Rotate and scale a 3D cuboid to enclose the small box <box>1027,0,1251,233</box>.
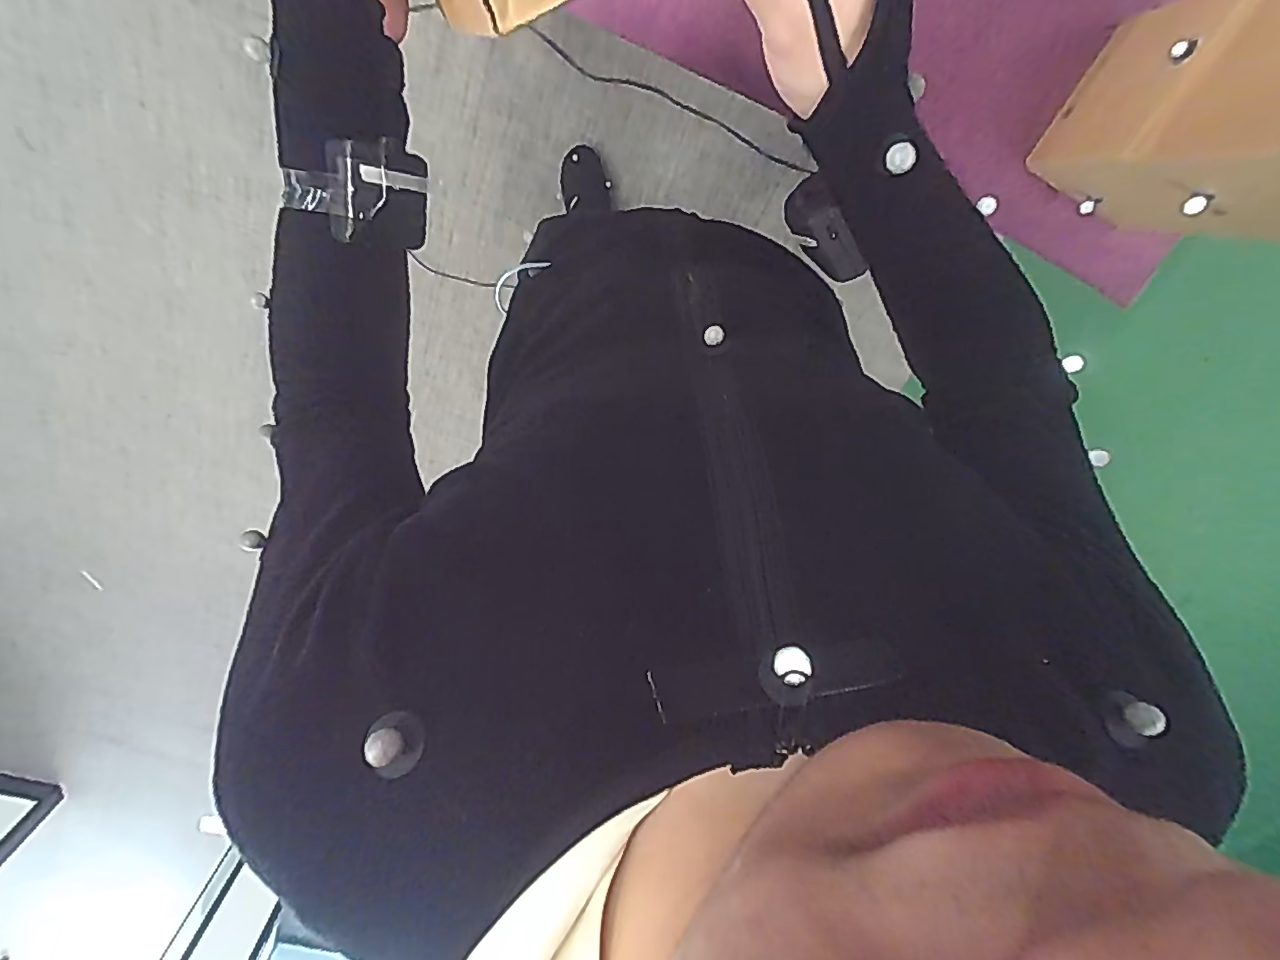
[{"bbox_3d":[0.601,-0.405,0.607,0.179,0.176,0.168,23,116,-12],"label":"small box"}]

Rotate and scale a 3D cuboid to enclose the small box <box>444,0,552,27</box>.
[{"bbox_3d":[-0.048,-0.339,0.242,0.168,0.179,0.176,-30,136,-2],"label":"small box"}]
